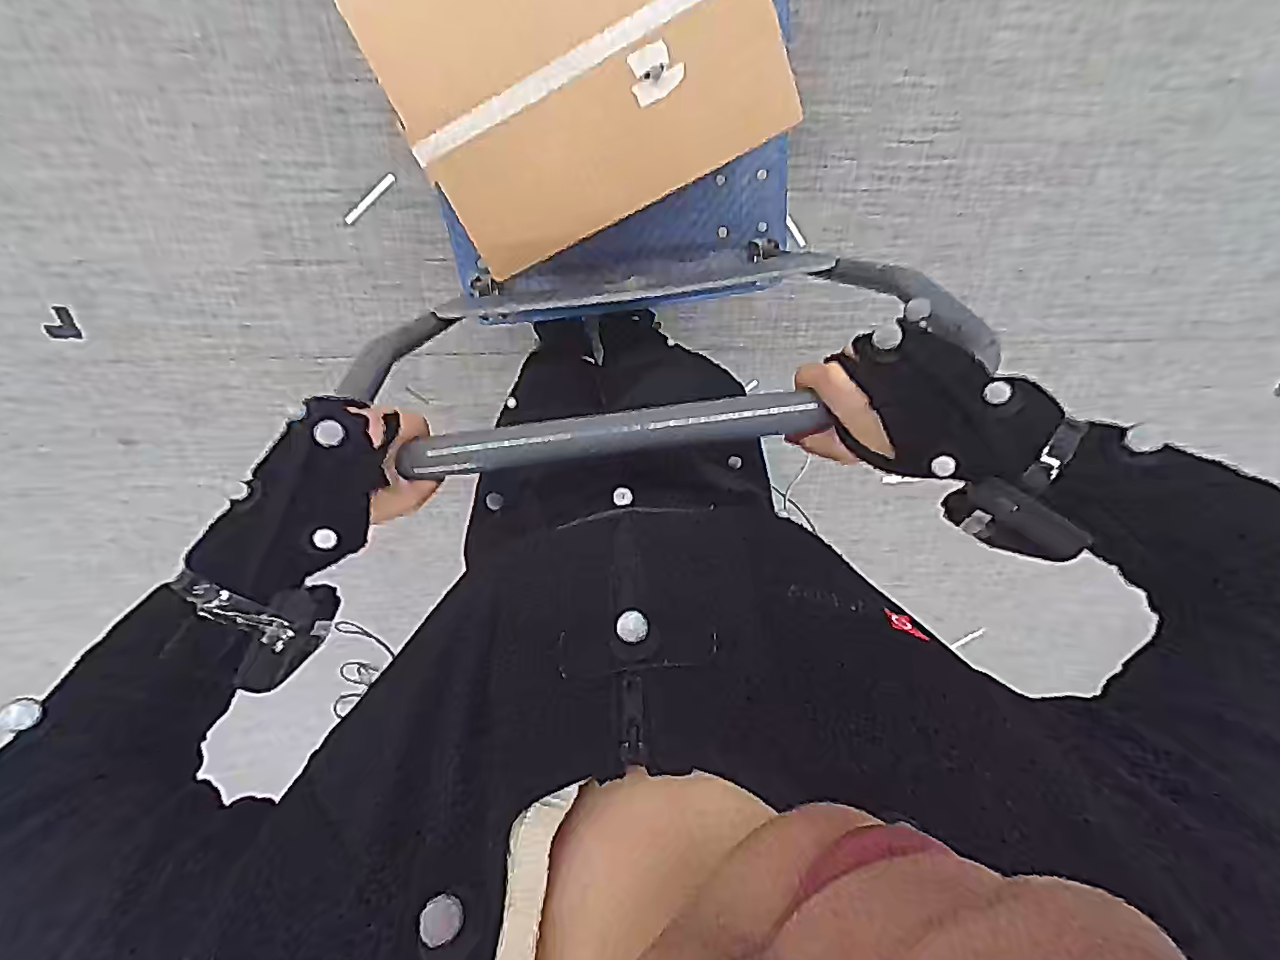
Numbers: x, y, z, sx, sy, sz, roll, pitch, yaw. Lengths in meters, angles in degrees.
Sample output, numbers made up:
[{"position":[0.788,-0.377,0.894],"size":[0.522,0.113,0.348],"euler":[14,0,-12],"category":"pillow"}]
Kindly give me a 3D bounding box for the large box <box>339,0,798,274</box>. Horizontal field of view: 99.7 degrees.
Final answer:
[{"position":[-0.074,-0.519,0.705],"size":[0.408,0.320,0.320],"euler":[-25,117,8],"category":"large box"}]
